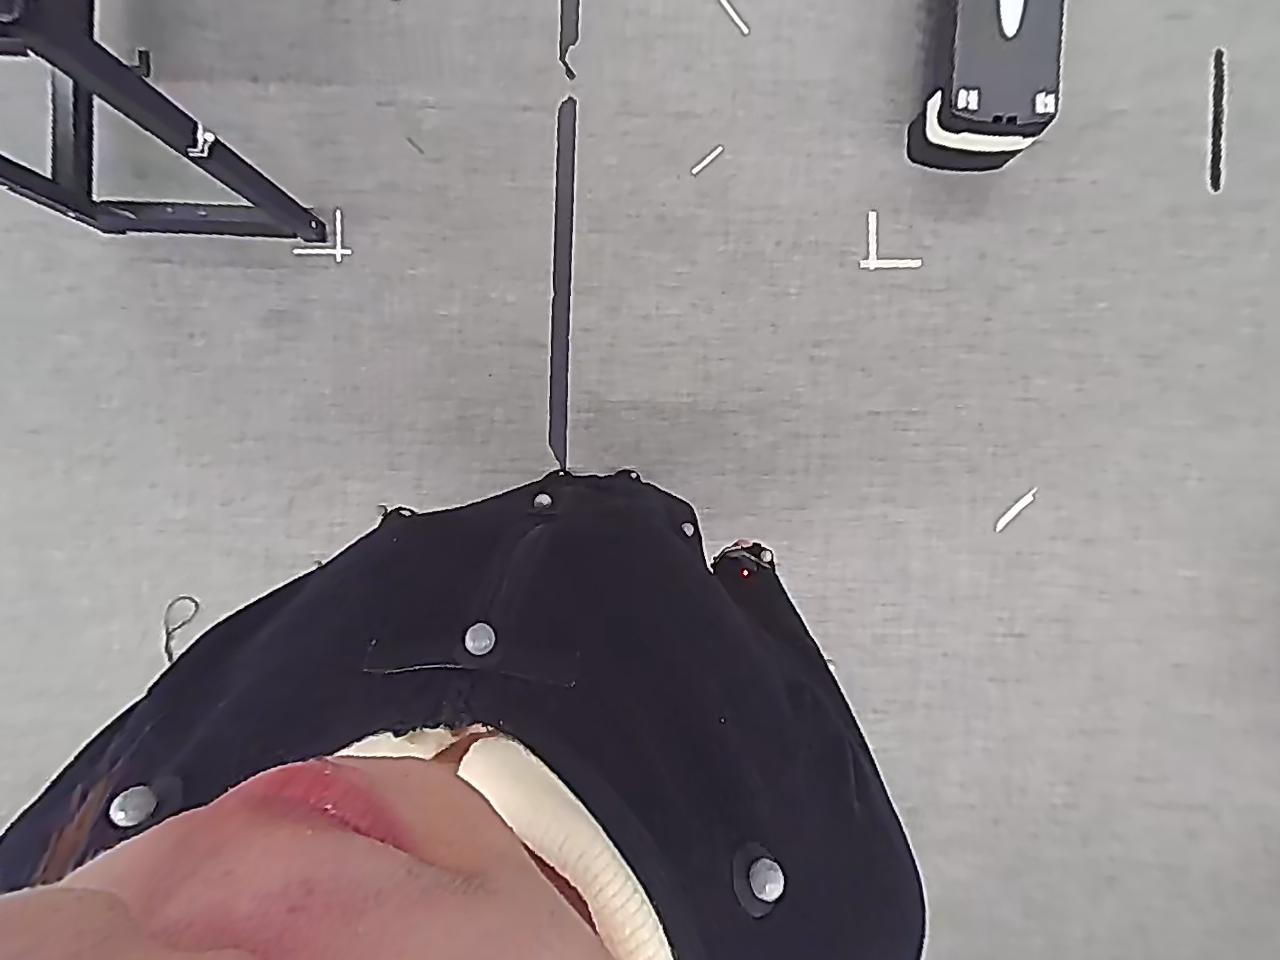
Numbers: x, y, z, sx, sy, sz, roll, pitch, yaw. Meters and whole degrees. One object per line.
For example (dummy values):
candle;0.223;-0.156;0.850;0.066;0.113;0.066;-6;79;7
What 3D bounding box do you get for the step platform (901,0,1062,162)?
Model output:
step platform;0.898;-1.224;1.396;0.286;0.204;0.684;7;91;-2
